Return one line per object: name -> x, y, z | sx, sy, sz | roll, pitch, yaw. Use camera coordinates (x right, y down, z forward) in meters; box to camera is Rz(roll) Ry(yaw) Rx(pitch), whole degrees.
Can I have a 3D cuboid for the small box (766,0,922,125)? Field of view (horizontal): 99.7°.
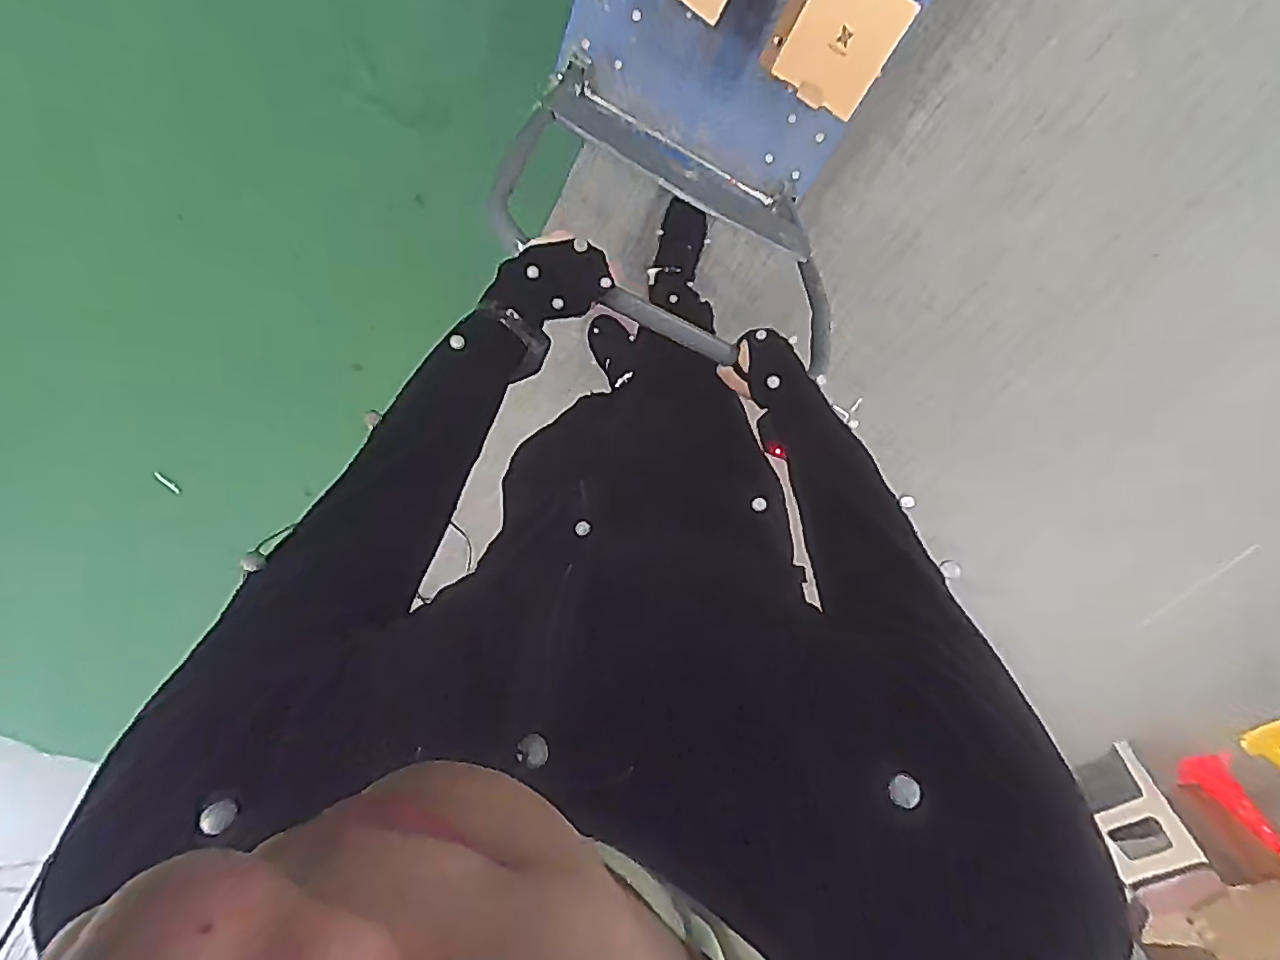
small box -> 0.336, -0.763, 0.934 | 0.168, 0.176, 0.179 | 22, 132, -16
